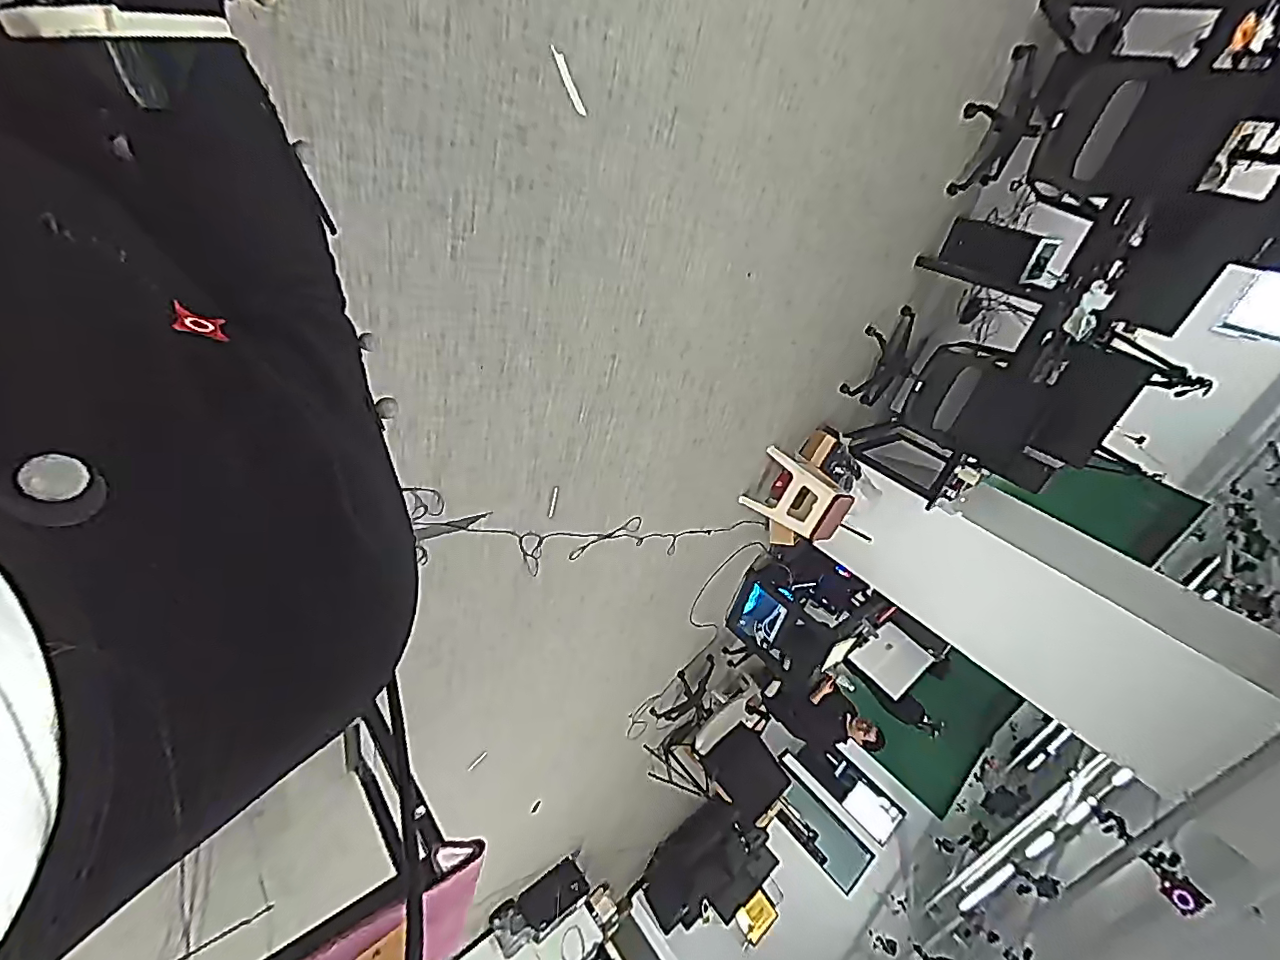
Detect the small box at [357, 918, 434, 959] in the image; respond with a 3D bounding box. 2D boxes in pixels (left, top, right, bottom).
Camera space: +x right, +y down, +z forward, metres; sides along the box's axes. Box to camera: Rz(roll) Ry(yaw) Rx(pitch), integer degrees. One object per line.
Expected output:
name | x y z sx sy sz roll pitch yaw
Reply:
small box | -0.654 1.347 1.465 0.168 0.176 0.179 -21 135 -36
